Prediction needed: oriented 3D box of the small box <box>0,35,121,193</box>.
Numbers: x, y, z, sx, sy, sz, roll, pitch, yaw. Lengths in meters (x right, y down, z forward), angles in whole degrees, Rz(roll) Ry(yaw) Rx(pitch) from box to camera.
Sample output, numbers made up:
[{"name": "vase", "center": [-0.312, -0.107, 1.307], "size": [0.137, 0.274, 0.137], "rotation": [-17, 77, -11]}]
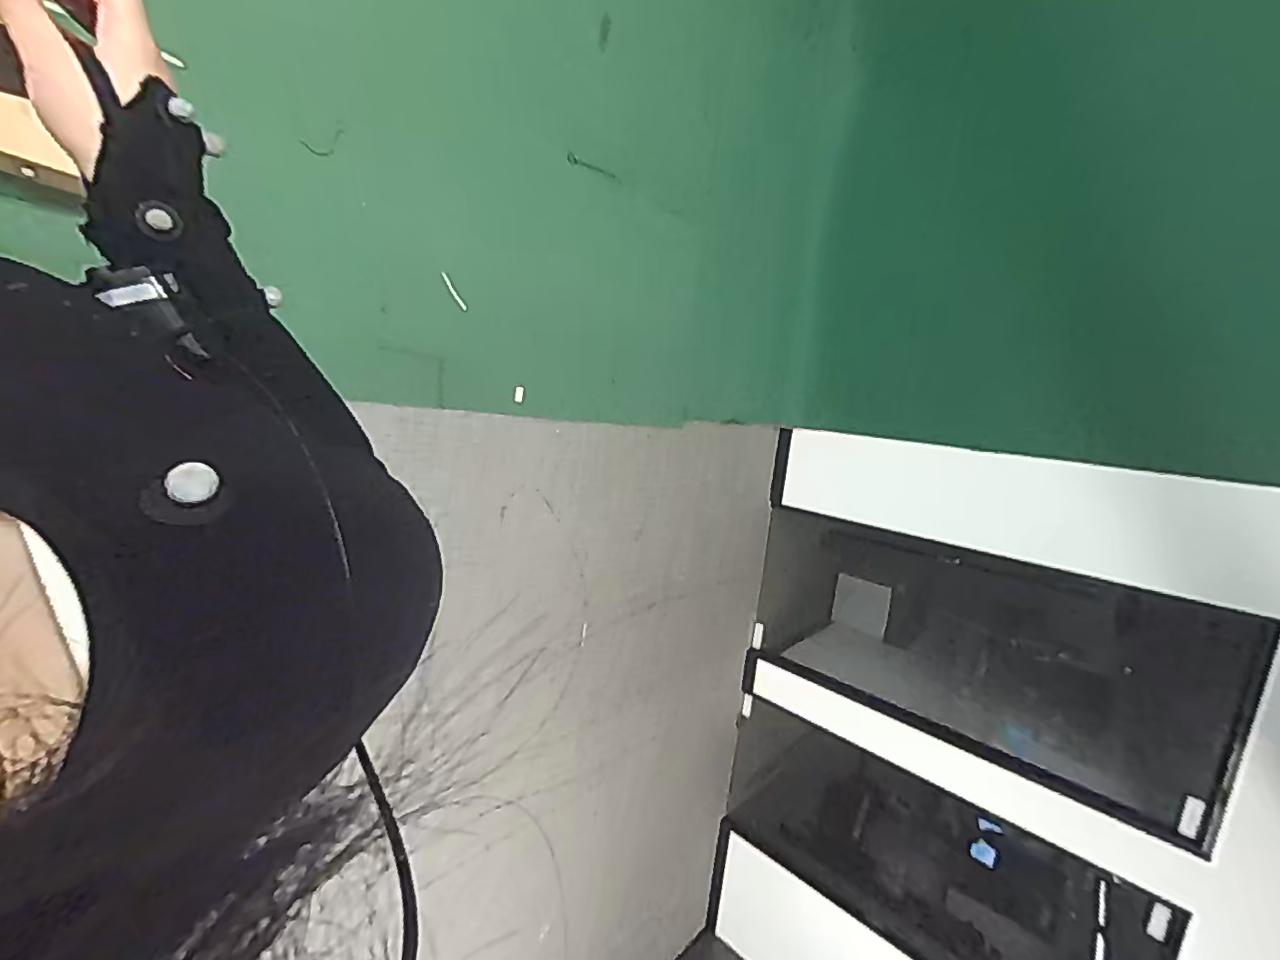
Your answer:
[{"name": "small box", "center": [-1.000, -0.599, 0.898], "size": [0.179, 0.176, 0.168], "rotation": [4, 98, -49]}]
